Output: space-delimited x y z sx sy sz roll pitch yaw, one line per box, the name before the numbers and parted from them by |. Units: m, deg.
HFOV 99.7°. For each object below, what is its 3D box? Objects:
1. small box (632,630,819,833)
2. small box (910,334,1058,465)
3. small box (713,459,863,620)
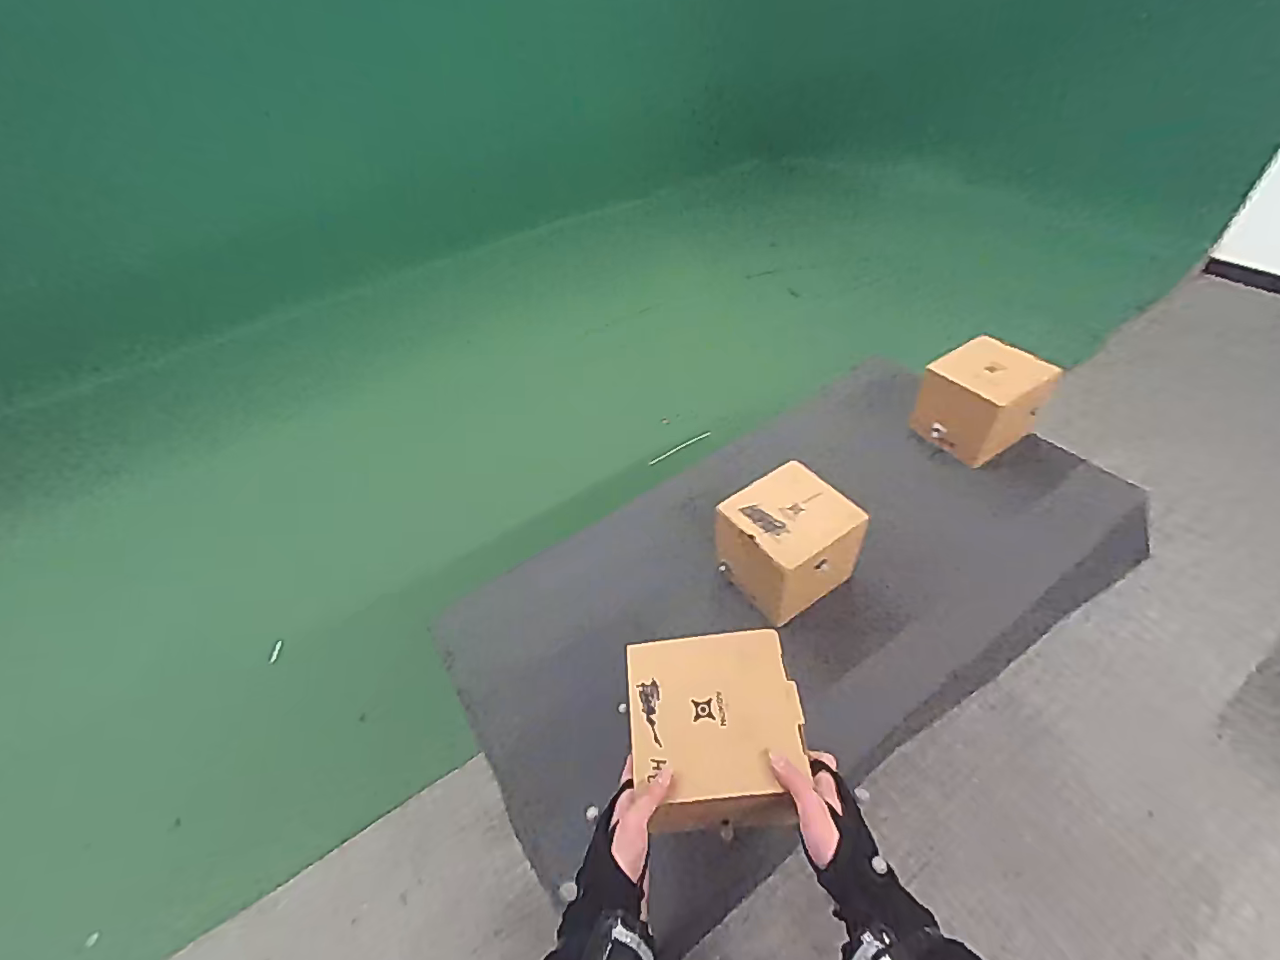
small box | 0.087 0.291 0.621 0.179 0.176 0.168 -6 47 3
small box | 0.686 -0.163 1.102 0.179 0.176 0.168 -29 49 -17
small box | 0.240 0.102 0.914 0.179 0.176 0.168 -28 50 -19
